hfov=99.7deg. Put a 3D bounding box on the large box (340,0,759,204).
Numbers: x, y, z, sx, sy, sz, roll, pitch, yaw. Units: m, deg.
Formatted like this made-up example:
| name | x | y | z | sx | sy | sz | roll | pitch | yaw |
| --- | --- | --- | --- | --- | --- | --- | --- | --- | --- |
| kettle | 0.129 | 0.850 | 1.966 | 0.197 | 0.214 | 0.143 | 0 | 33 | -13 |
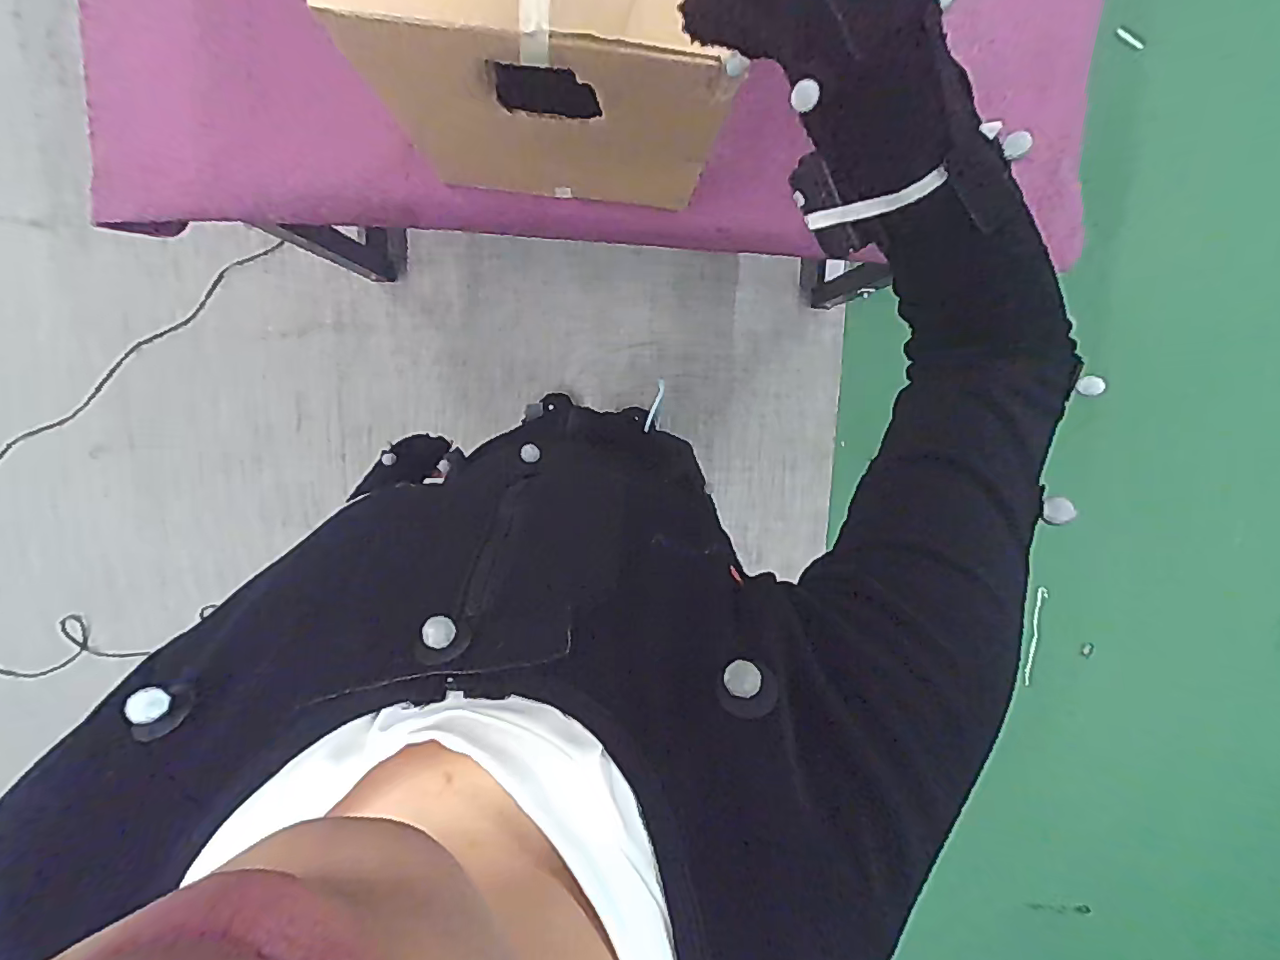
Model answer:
| name | x | y | z | sx | sy | sz | roll | pitch | yaw |
| --- | --- | --- | --- | --- | --- | --- | --- | --- | --- |
| large box | -0.063 | -0.541 | 0.519 | 0.320 | 0.320 | 0.408 | 5 | 99 | -4 |
